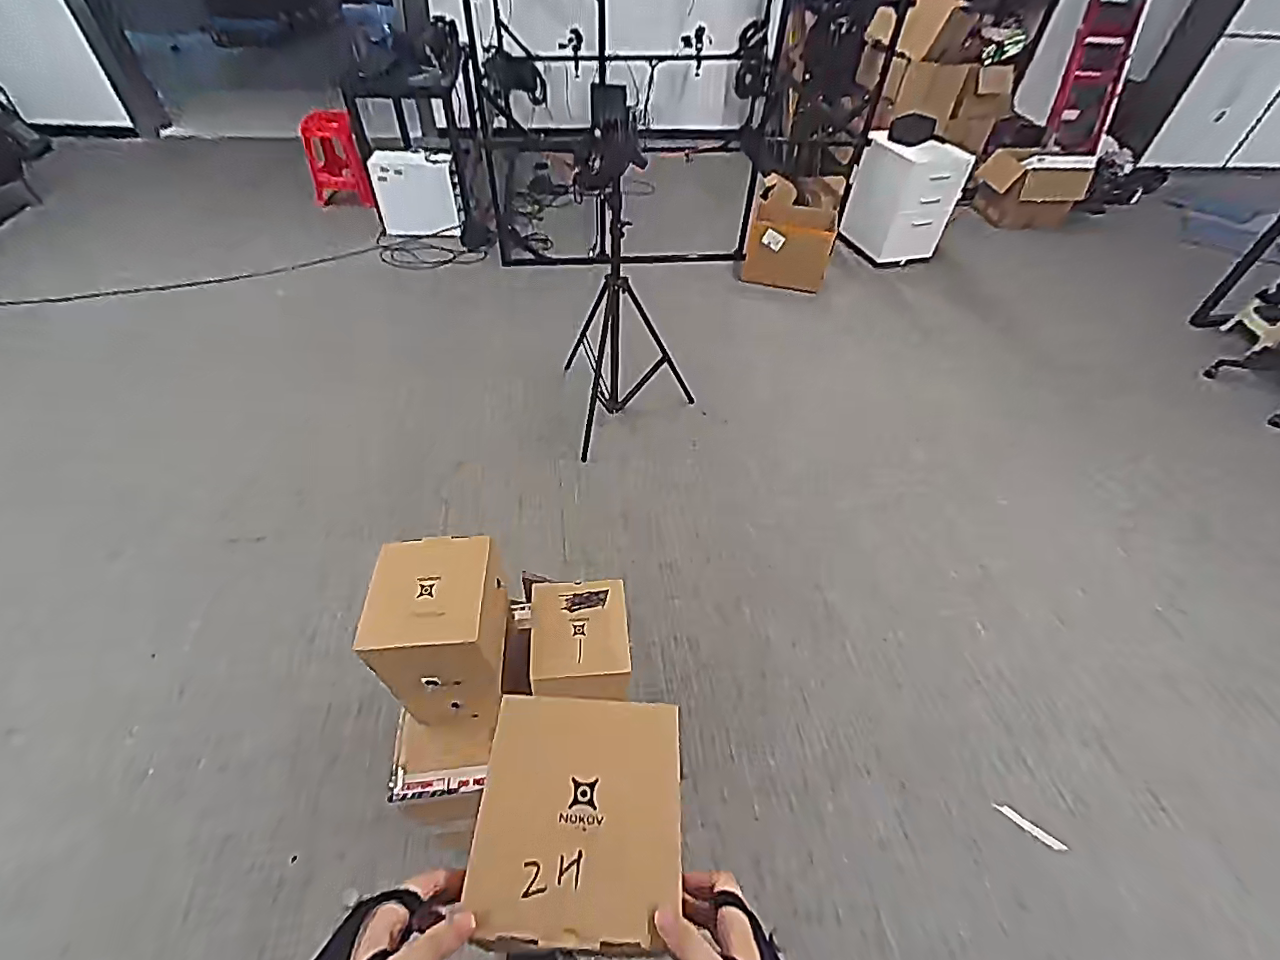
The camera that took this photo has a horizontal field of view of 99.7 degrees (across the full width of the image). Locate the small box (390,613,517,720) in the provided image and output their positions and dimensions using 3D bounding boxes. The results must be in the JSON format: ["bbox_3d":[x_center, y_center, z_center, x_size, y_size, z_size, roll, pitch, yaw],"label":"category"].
[{"bbox_3d":[-0.315,0.312,0.954,0.168,0.176,0.179,-3,50,-4],"label":"small box"}]

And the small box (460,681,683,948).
[{"bbox_3d":[-0.052,0.312,0.504,0.168,0.176,0.179,4,46,-1],"label":"small box"}]

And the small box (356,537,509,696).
[{"bbox_3d":[-0.300,0.209,0.828,0.168,0.176,0.179,-4,50,-4],"label":"small box"}]

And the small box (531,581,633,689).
[{"bbox_3d":[-0.107,0.303,0.976,0.168,0.176,0.179,-2,49,-7],"label":"small box"}]
